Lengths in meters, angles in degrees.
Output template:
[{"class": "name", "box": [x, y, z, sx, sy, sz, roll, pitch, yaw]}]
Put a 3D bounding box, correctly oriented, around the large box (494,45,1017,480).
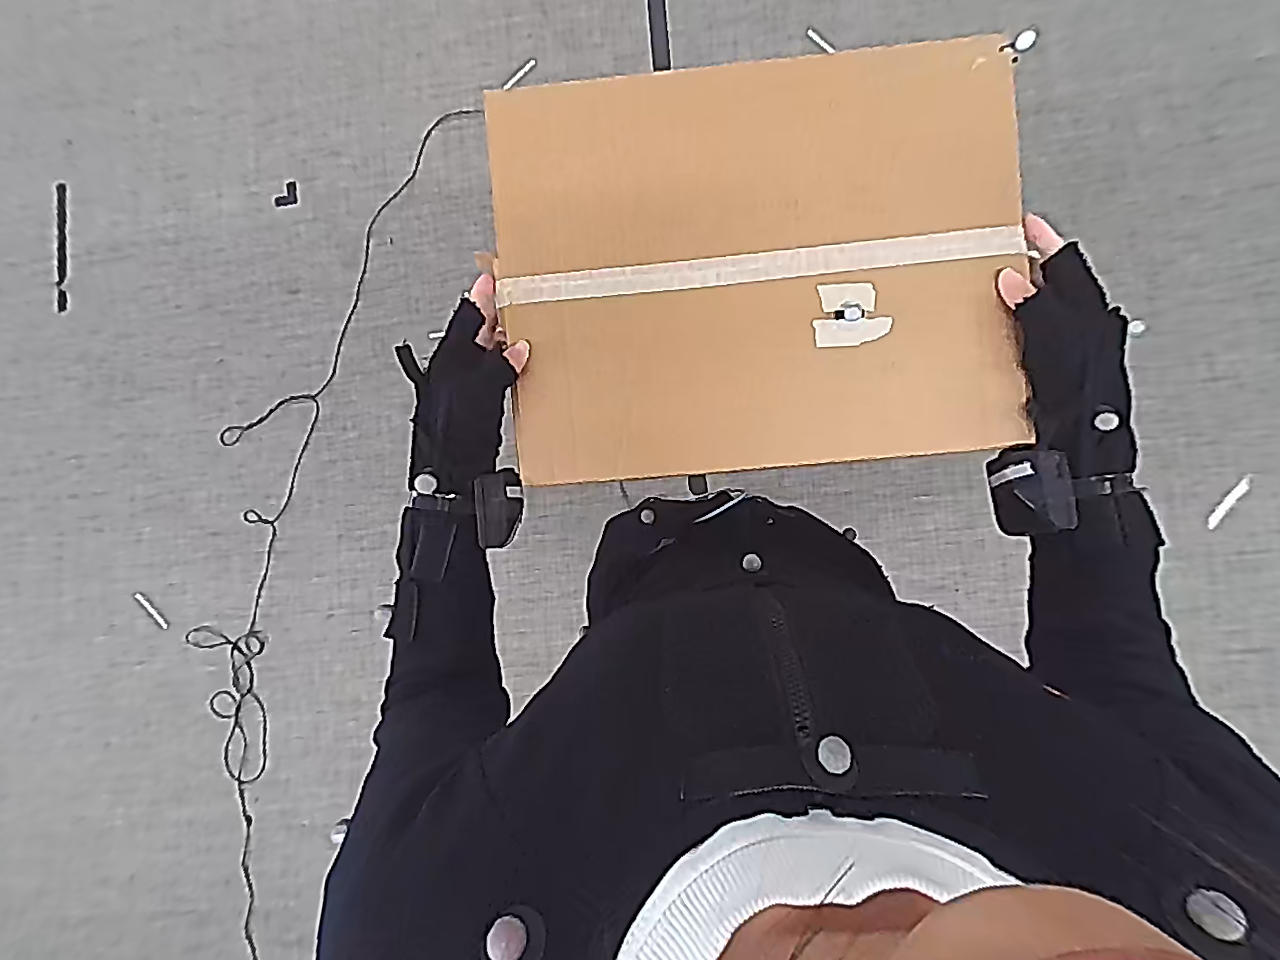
[{"class": "large box", "box": [0.094, -0.177, 0.584, 0.408, 0.320, 0.320, -5, 93, 1]}]
